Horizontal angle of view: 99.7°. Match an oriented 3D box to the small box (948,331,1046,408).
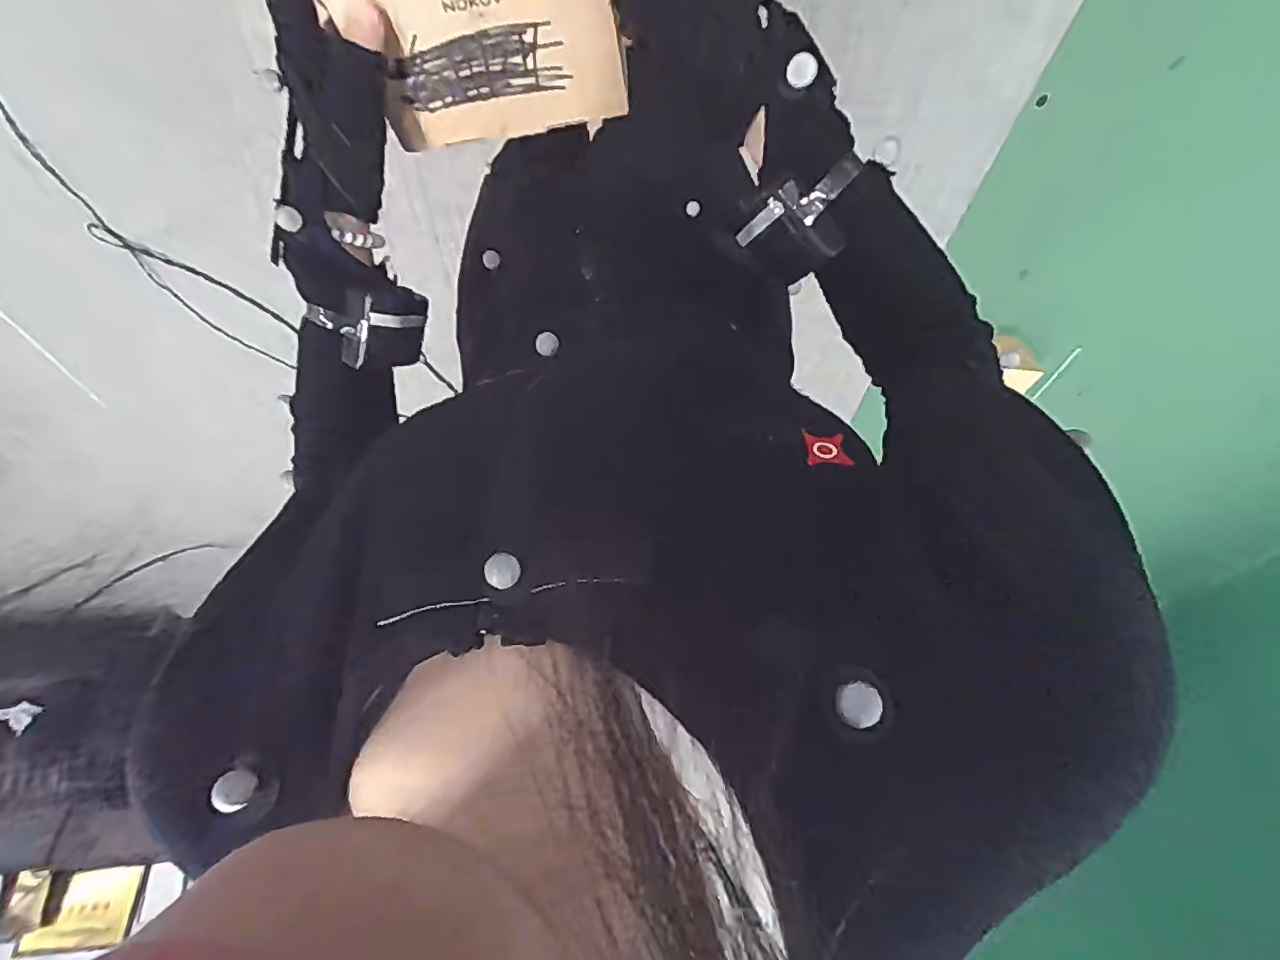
[{"bbox_3d":[1.125,-0.355,1.724,0.168,0.176,0.179,3,145,-10],"label":"small box"}]
